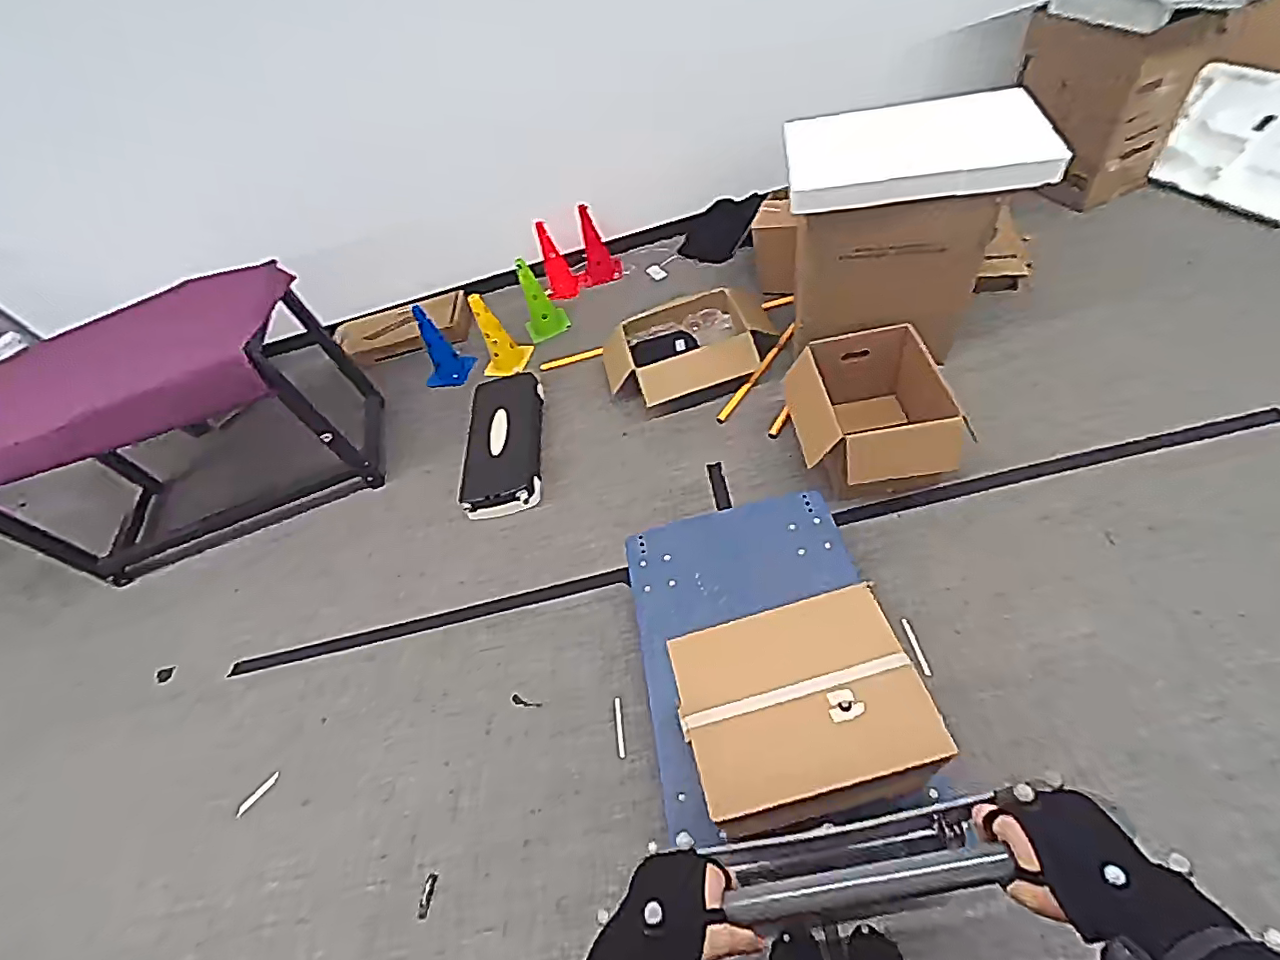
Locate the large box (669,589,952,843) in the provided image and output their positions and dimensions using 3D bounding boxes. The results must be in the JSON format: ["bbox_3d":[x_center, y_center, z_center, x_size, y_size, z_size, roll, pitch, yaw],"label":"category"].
[{"bbox_3d":[0.304,0.471,1.064,0.408,0.320,0.320,-17,51,1],"label":"large box"}]
